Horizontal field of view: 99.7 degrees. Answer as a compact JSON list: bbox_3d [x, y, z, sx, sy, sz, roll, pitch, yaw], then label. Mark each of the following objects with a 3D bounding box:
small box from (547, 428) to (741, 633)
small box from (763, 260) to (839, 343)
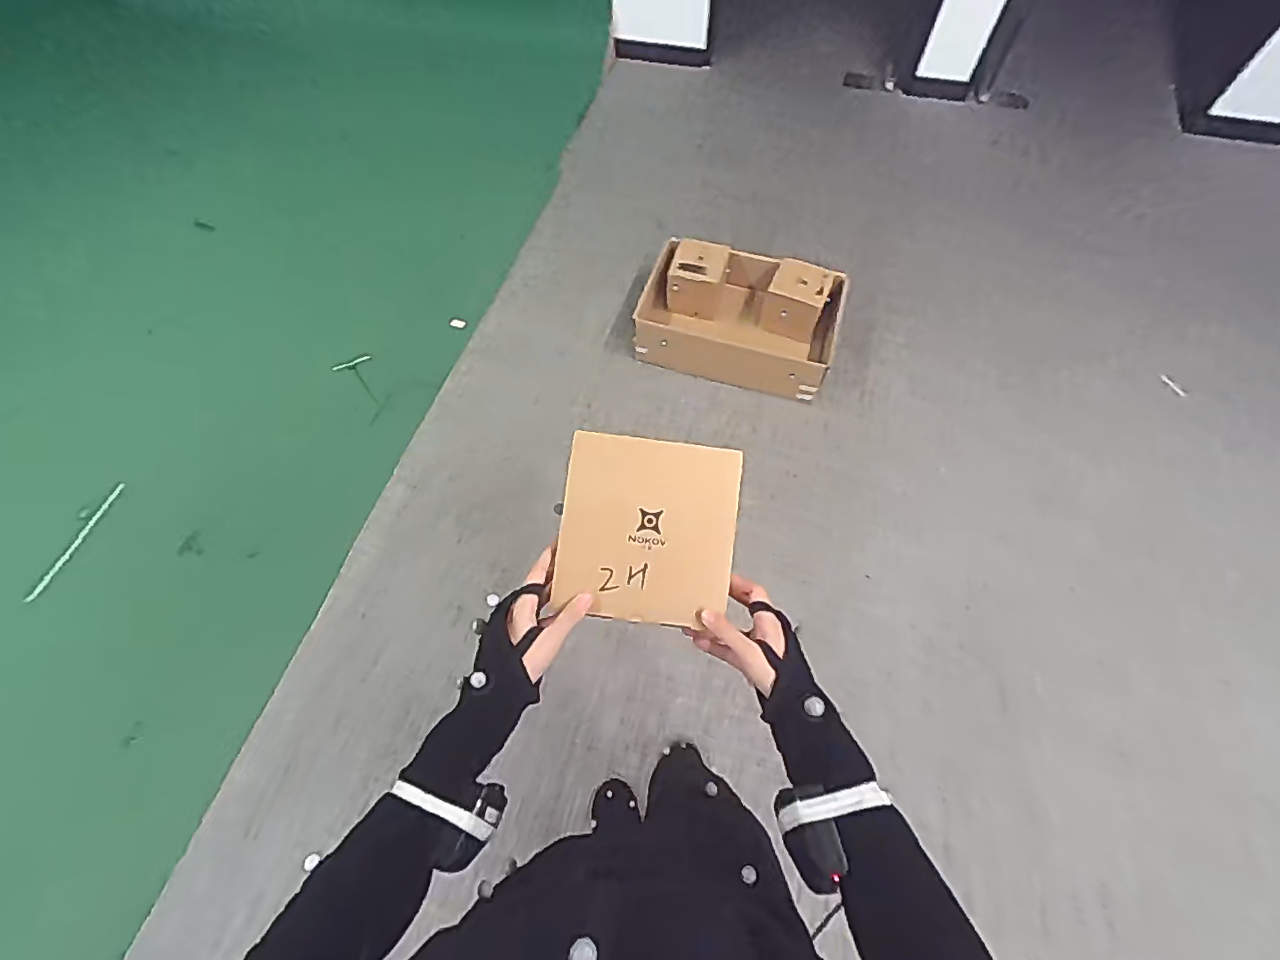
[{"bbox_3d":[0.006,0.056,0.591,0.168,0.176,0.179,8,83,3],"label":"small box"},{"bbox_3d":[0.516,-0.575,1.754,0.179,0.176,0.168,24,67,14],"label":"small box"}]
